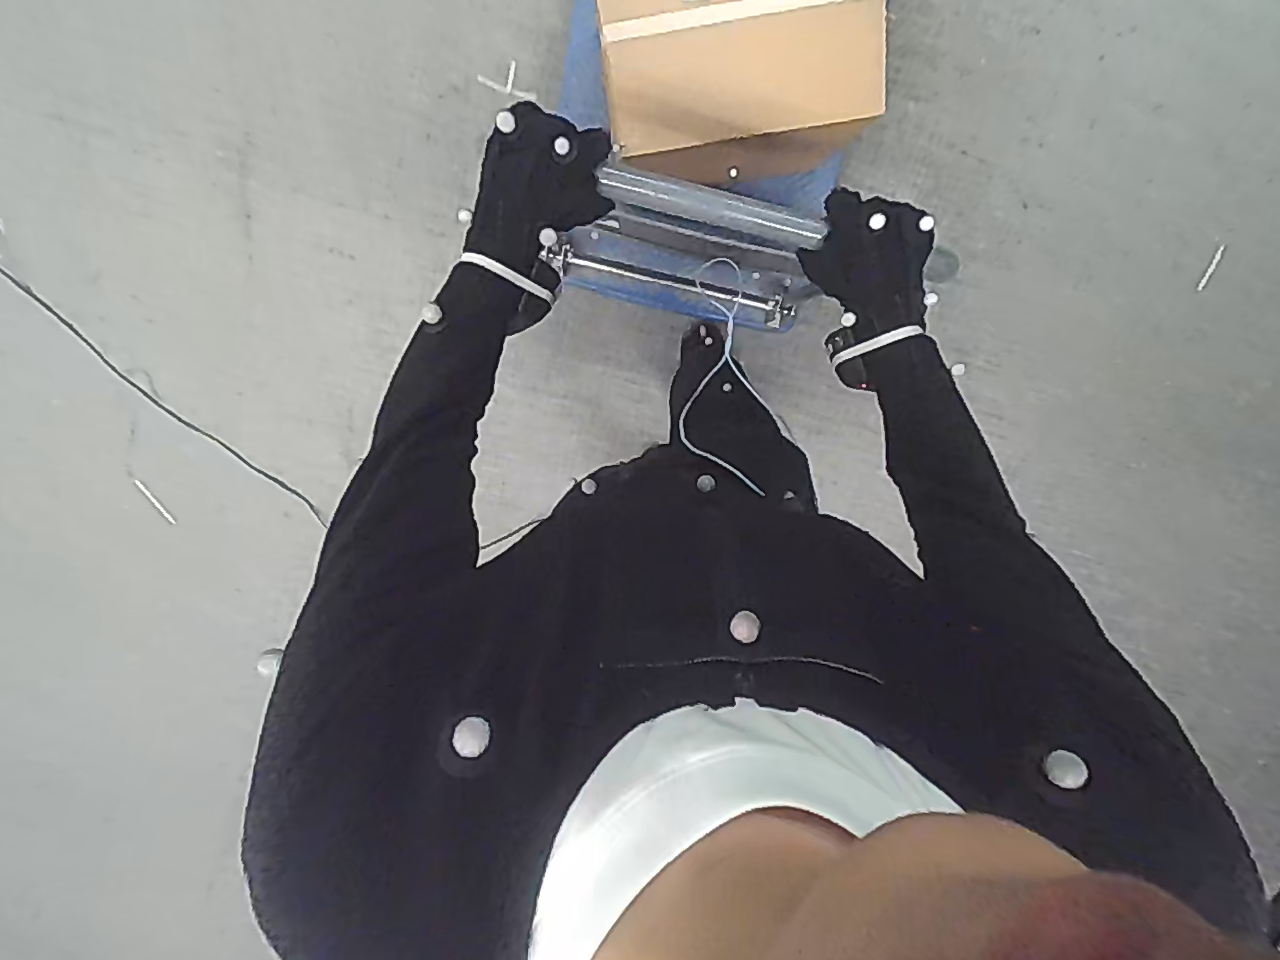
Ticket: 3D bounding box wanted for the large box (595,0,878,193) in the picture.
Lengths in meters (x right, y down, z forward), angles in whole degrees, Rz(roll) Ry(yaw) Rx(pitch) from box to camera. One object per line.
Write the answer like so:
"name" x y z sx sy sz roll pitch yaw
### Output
"large box" 0.145 -0.717 0.925 0.408 0.320 0.320 -8 106 3
